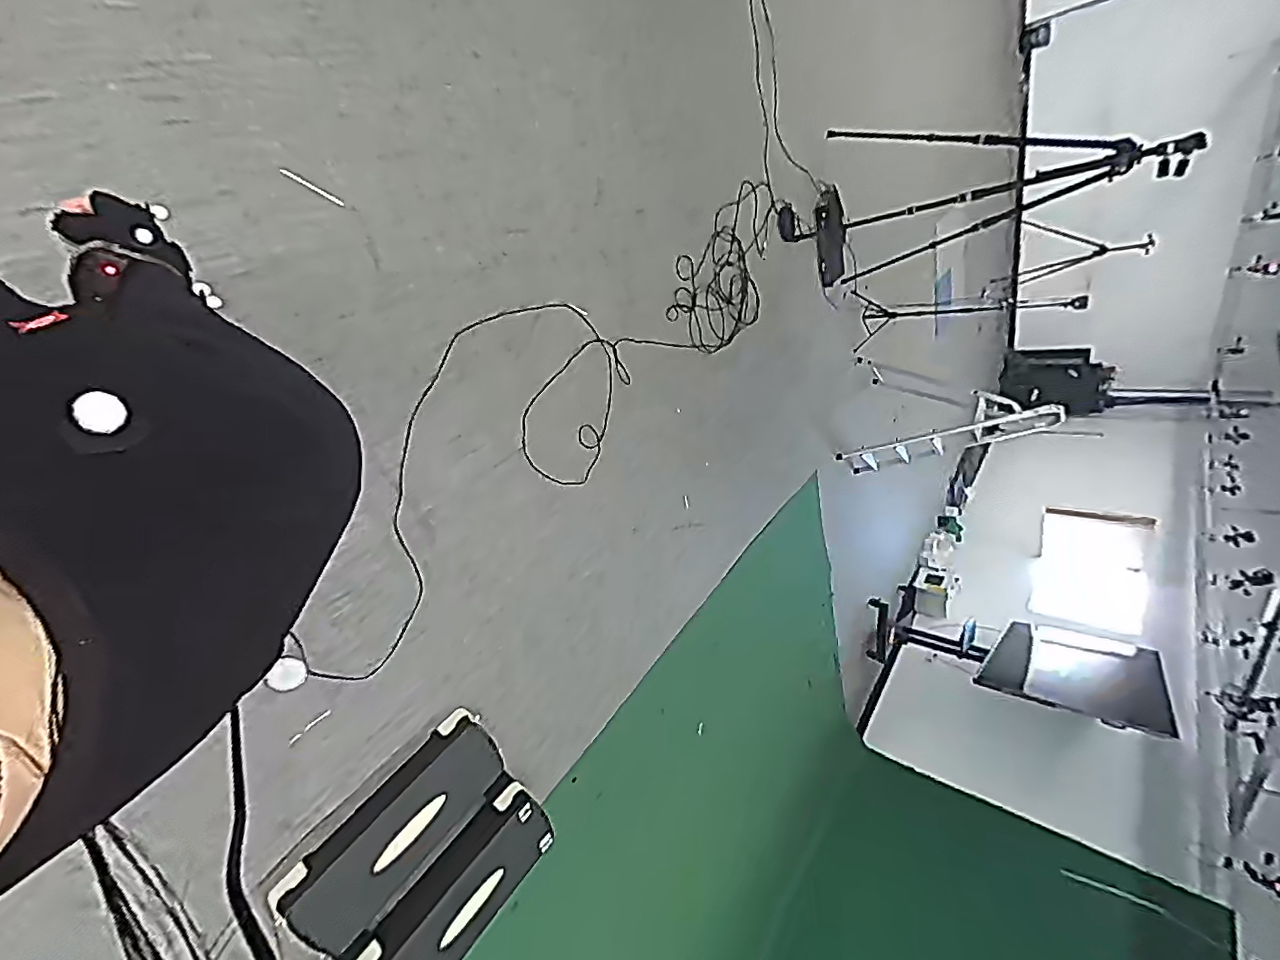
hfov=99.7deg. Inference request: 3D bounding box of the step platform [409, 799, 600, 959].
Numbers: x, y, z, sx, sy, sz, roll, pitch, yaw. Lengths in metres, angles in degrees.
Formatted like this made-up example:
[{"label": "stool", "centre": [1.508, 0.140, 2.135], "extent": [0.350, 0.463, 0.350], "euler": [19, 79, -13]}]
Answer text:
[{"label": "step platform", "centre": [-0.432, 1.379, 1.683], "extent": [0.684, 0.204, 0.286], "euler": [-42, 127, -38]}]
